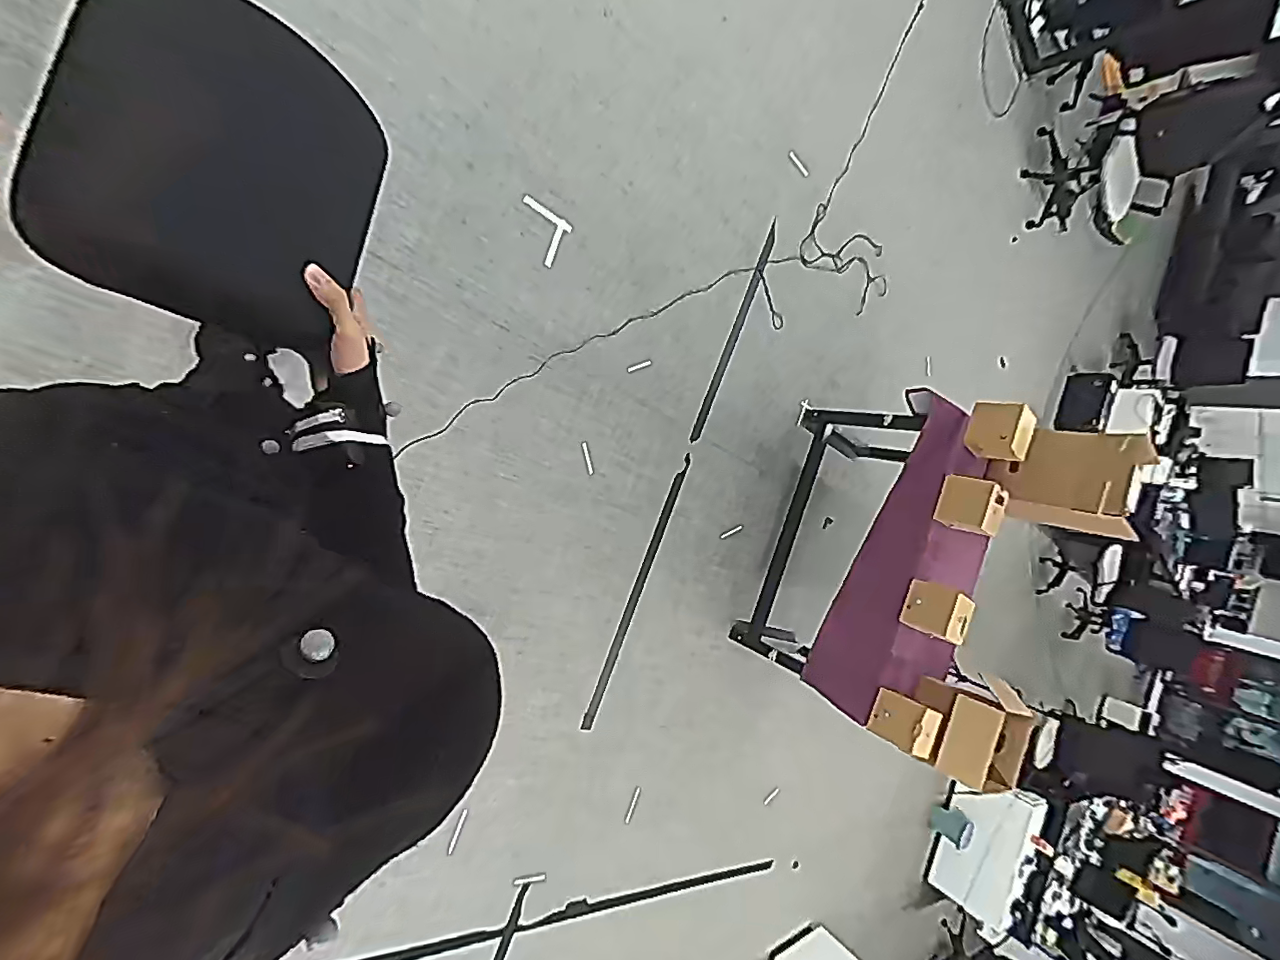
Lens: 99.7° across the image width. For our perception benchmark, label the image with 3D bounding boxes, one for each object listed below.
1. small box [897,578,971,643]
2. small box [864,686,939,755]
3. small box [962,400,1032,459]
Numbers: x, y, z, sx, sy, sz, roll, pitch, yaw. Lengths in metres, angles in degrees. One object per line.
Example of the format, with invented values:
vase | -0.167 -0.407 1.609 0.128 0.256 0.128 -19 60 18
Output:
small box | 1.081 0.477 1.991 0.179 0.176 0.168 28 81 -38
small box | 0.949 0.871 1.967 0.179 0.176 0.168 32 79 -39
small box | 1.367 -0.196 2.074 0.168 0.176 0.179 22 87 -39
